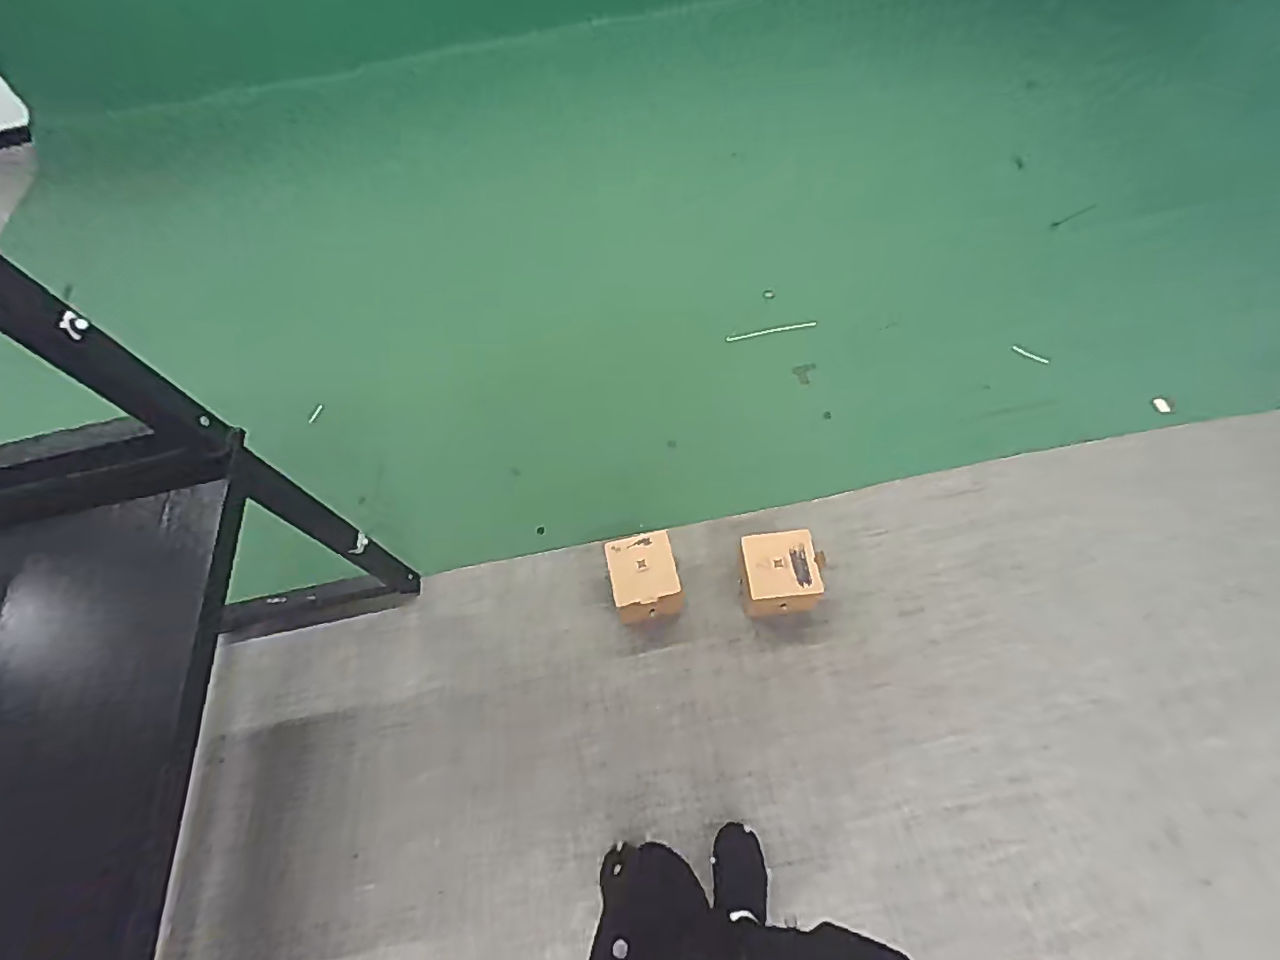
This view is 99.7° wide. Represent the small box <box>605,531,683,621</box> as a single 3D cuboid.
[{"bbox_3d":[0.015,0.256,1.403,0.168,0.176,0.179,-13,61,-1],"label":"small box"}]
